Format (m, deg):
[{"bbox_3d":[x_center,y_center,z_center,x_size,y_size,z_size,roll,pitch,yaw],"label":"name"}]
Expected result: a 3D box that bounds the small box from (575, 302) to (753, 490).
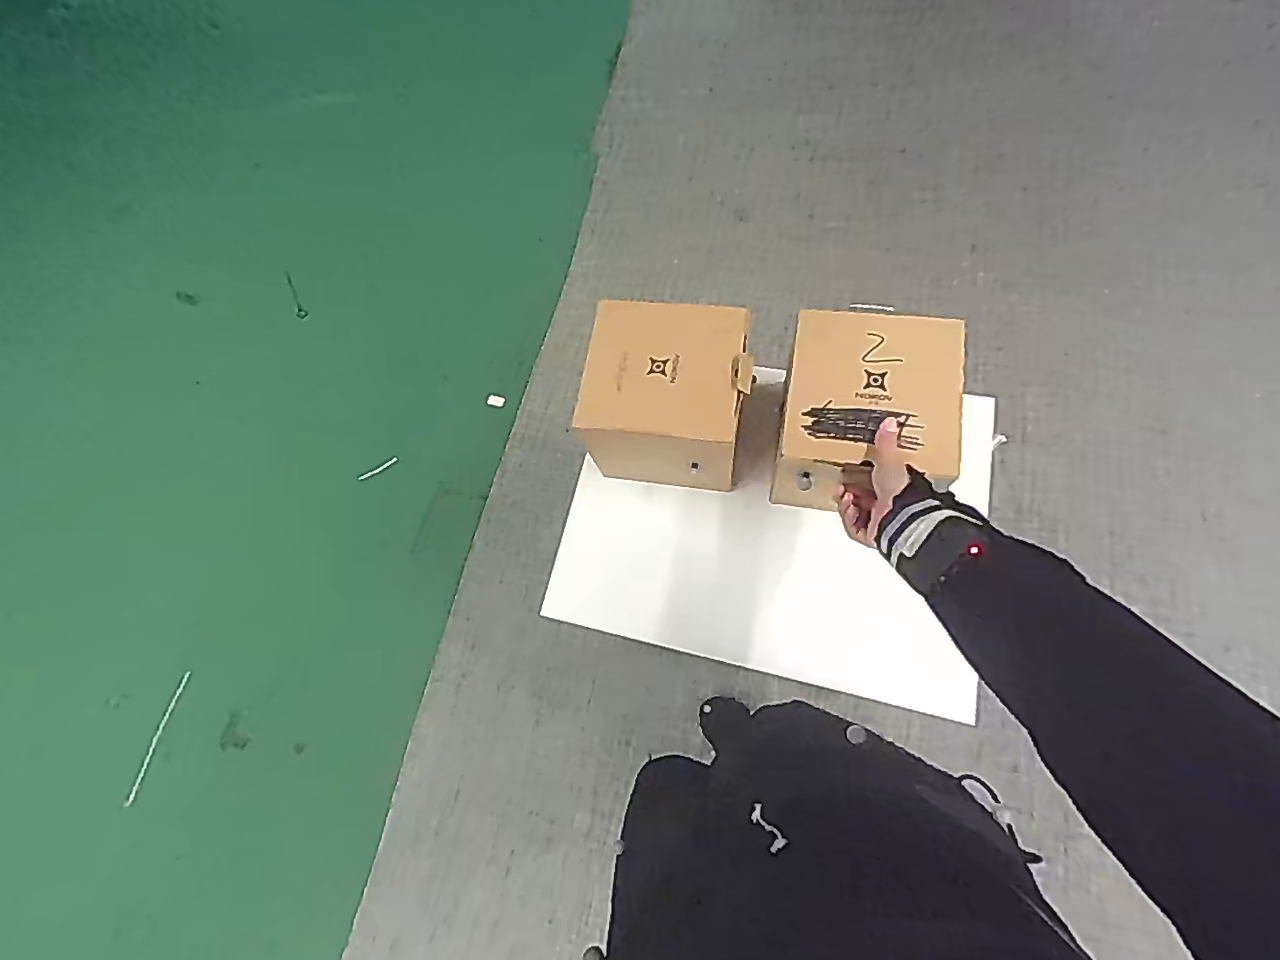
[{"bbox_3d":[0.038,-0.094,0.662,0.179,0.176,0.168,6,71,11],"label":"small box"}]
